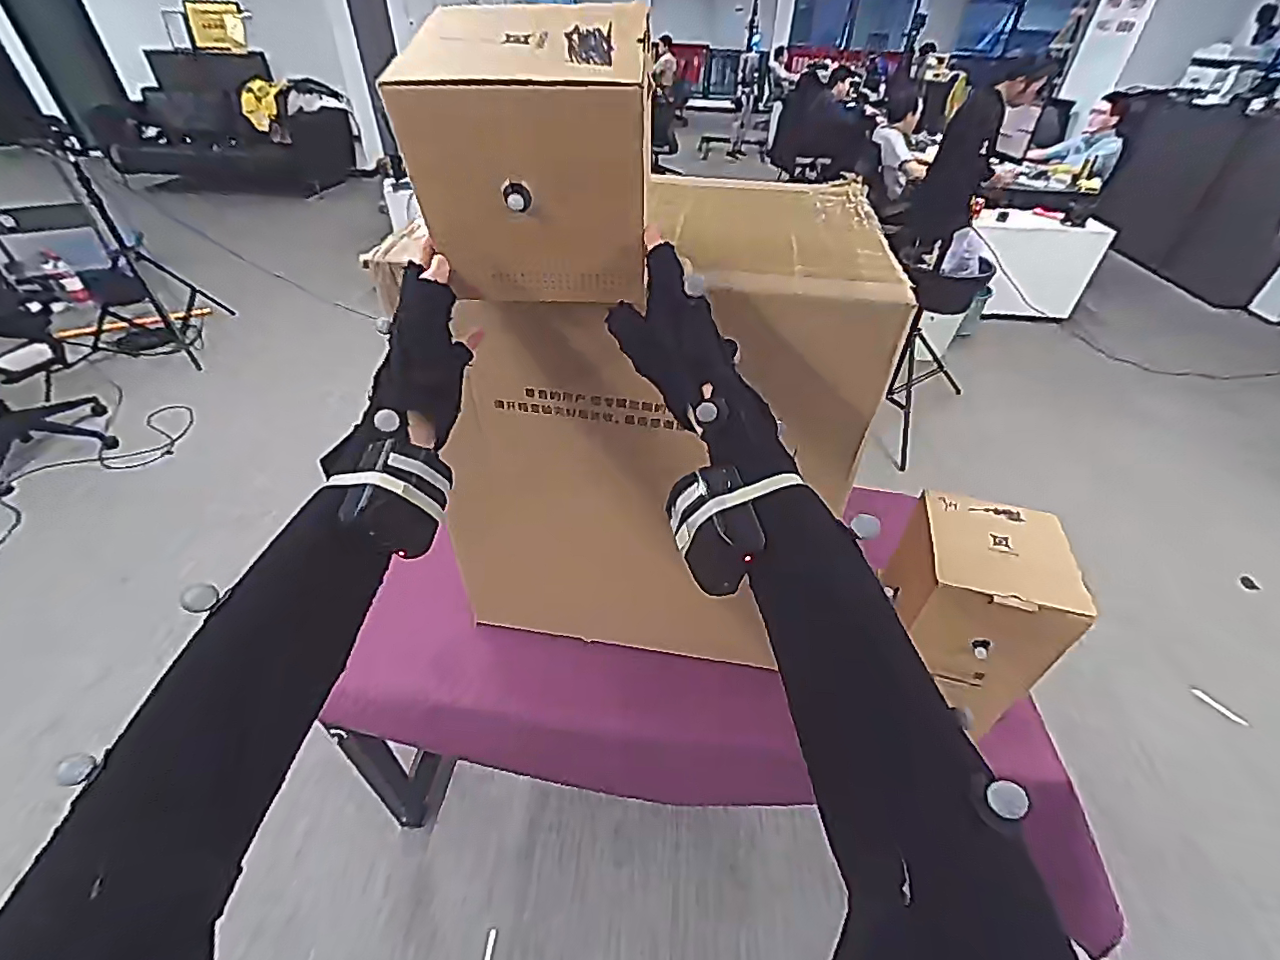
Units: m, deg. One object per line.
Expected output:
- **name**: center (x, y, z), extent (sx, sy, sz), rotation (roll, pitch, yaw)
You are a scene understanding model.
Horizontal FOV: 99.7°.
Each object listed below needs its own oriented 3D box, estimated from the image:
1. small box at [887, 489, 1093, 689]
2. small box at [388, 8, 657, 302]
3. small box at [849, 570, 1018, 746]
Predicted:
- **small box**: center (0.438, 0.143, 0.714), extent (0.168, 0.176, 0.179), rotation (13, 42, 12)
- **small box**: center (-0.076, -0.270, 0.463), extent (0.179, 0.176, 0.168), rotation (1, 54, 2)
- **small box**: center (0.425, 0.270, 0.819), extent (0.168, 0.176, 0.179), rotation (11, 40, 9)
